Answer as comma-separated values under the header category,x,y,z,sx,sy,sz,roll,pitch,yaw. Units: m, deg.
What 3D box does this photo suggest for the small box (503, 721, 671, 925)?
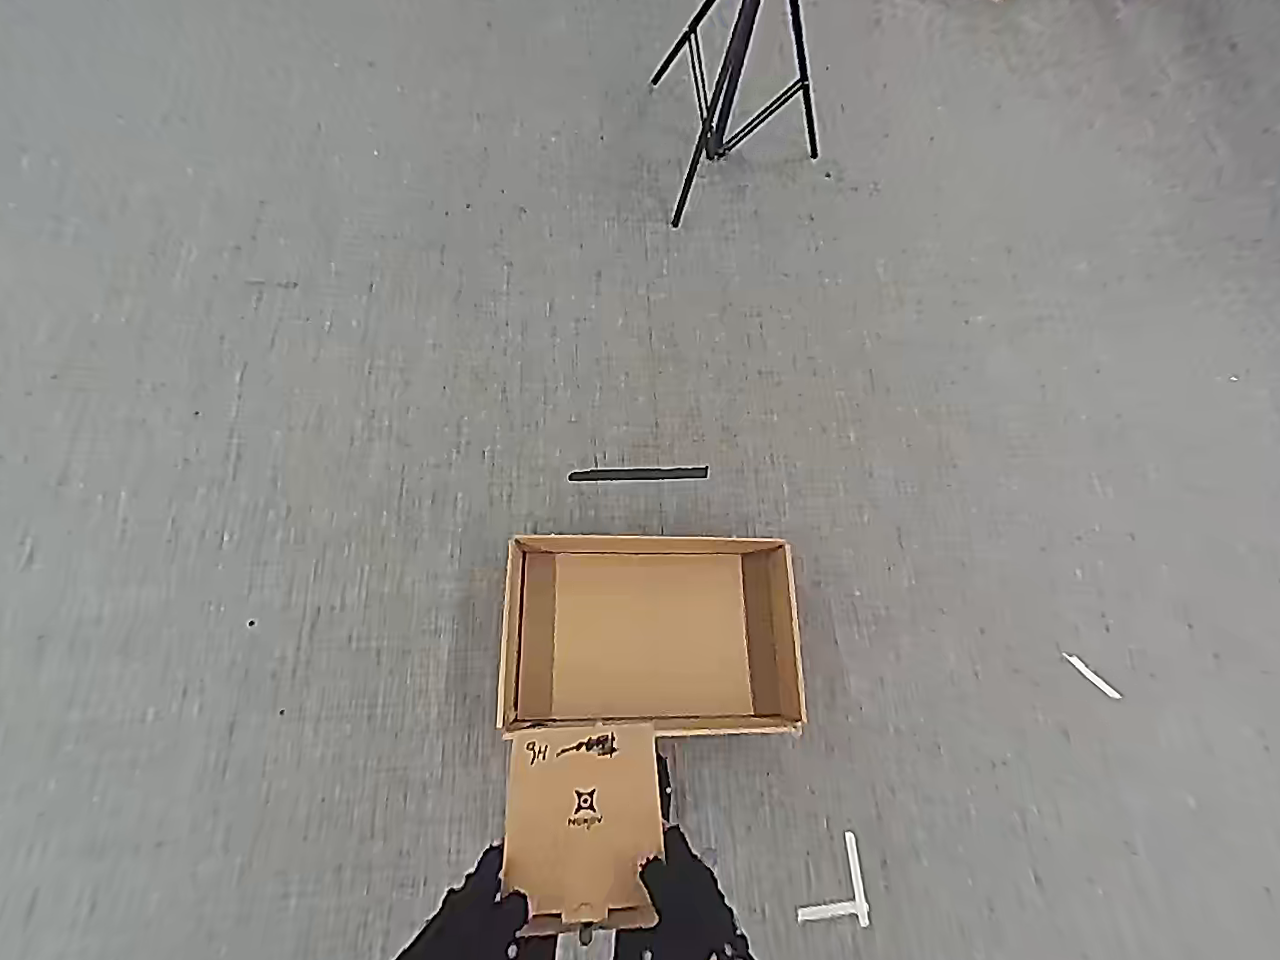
category,x,y,z,sx,sy,sz,roll,pitch,yaw
small box,-0.060,0.403,0.633,0.168,0.176,0.179,0,47,-6
